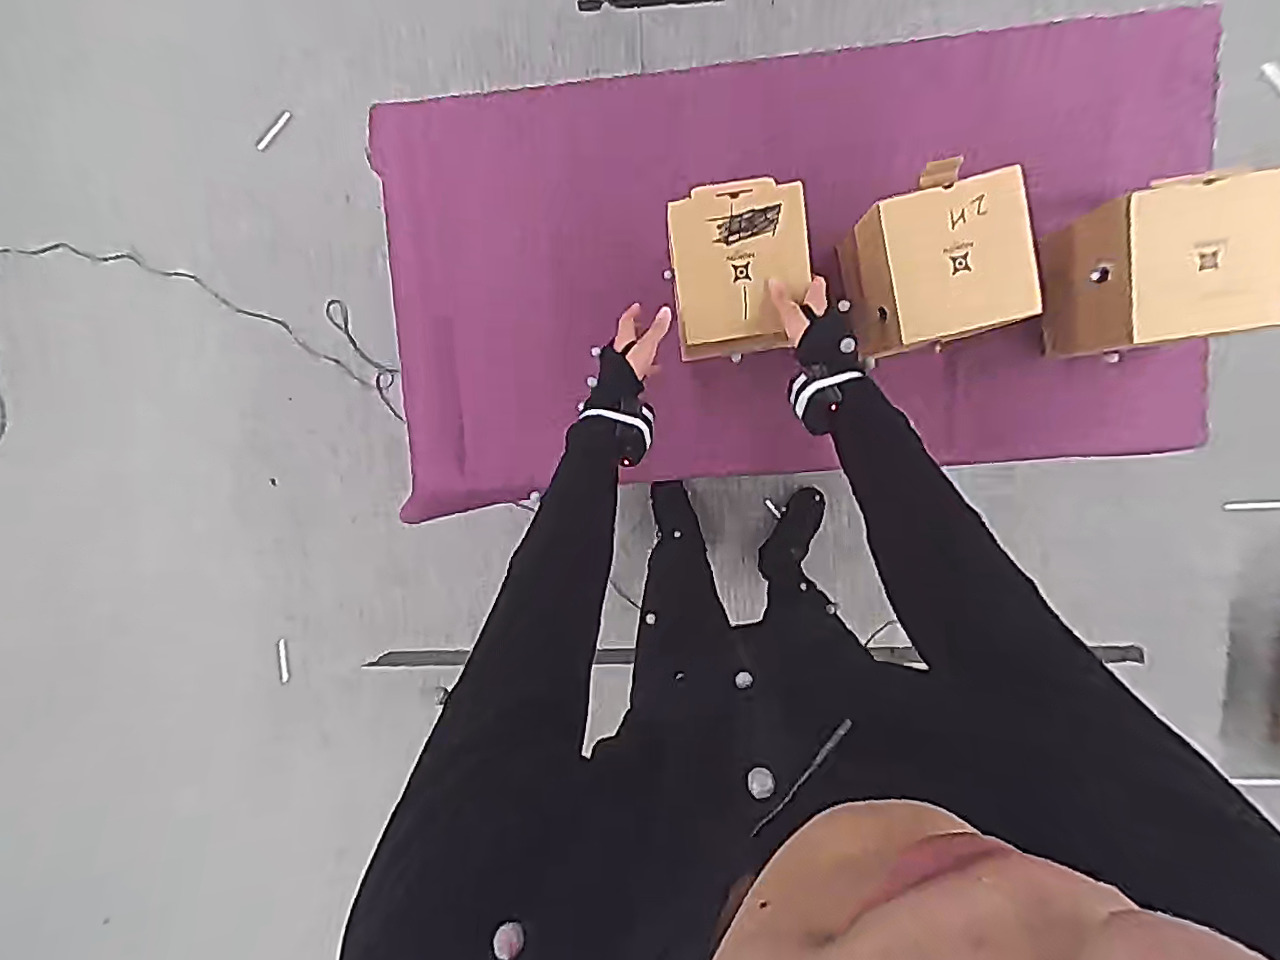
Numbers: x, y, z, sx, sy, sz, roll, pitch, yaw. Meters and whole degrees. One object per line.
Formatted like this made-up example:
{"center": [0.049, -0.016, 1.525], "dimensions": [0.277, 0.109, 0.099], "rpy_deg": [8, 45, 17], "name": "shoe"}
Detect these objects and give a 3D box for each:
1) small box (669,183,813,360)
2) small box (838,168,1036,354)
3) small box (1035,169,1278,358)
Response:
{"center": [0.129, -0.272, 0.744], "dimensions": [0.168, 0.176, 0.179], "rpy_deg": [-7, 96, 5], "name": "small box"}
{"center": [0.383, -0.274, 0.725], "dimensions": [0.168, 0.176, 0.179], "rpy_deg": [-13, 94, 5], "name": "small box"}
{"center": [0.654, -0.267, 0.707], "dimensions": [0.168, 0.176, 0.179], "rpy_deg": [-7, 95, 6], "name": "small box"}
